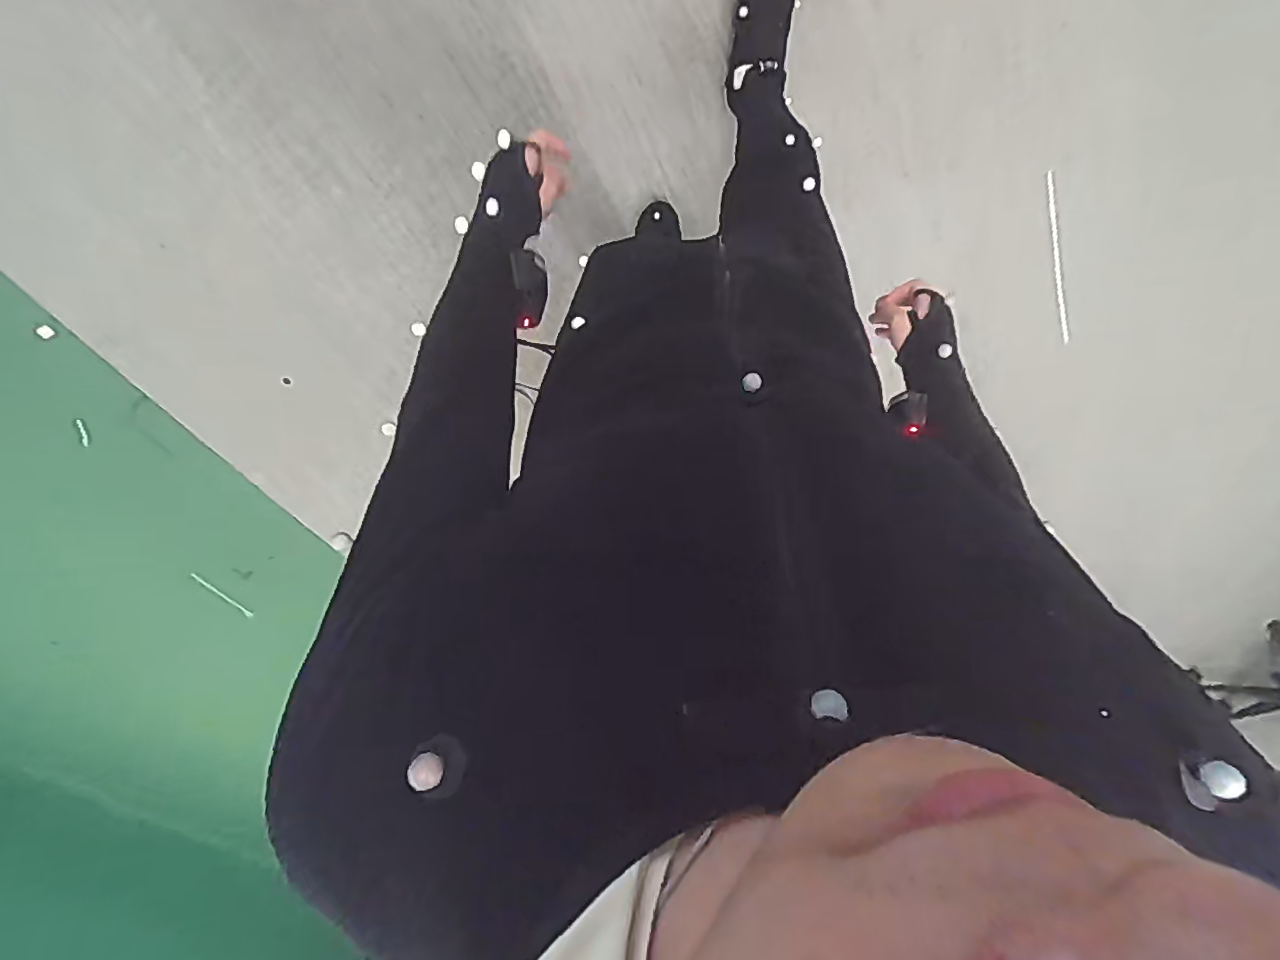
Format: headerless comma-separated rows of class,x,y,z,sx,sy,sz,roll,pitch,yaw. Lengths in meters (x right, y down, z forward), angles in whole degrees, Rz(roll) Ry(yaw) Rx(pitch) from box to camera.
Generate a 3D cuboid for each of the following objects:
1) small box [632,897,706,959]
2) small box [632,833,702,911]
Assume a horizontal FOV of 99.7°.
small box,0.086,1.374,1.618,0.168,0.176,0.179,-23,122,20
small box,0.091,1.270,1.746,0.168,0.176,0.179,-23,121,20
